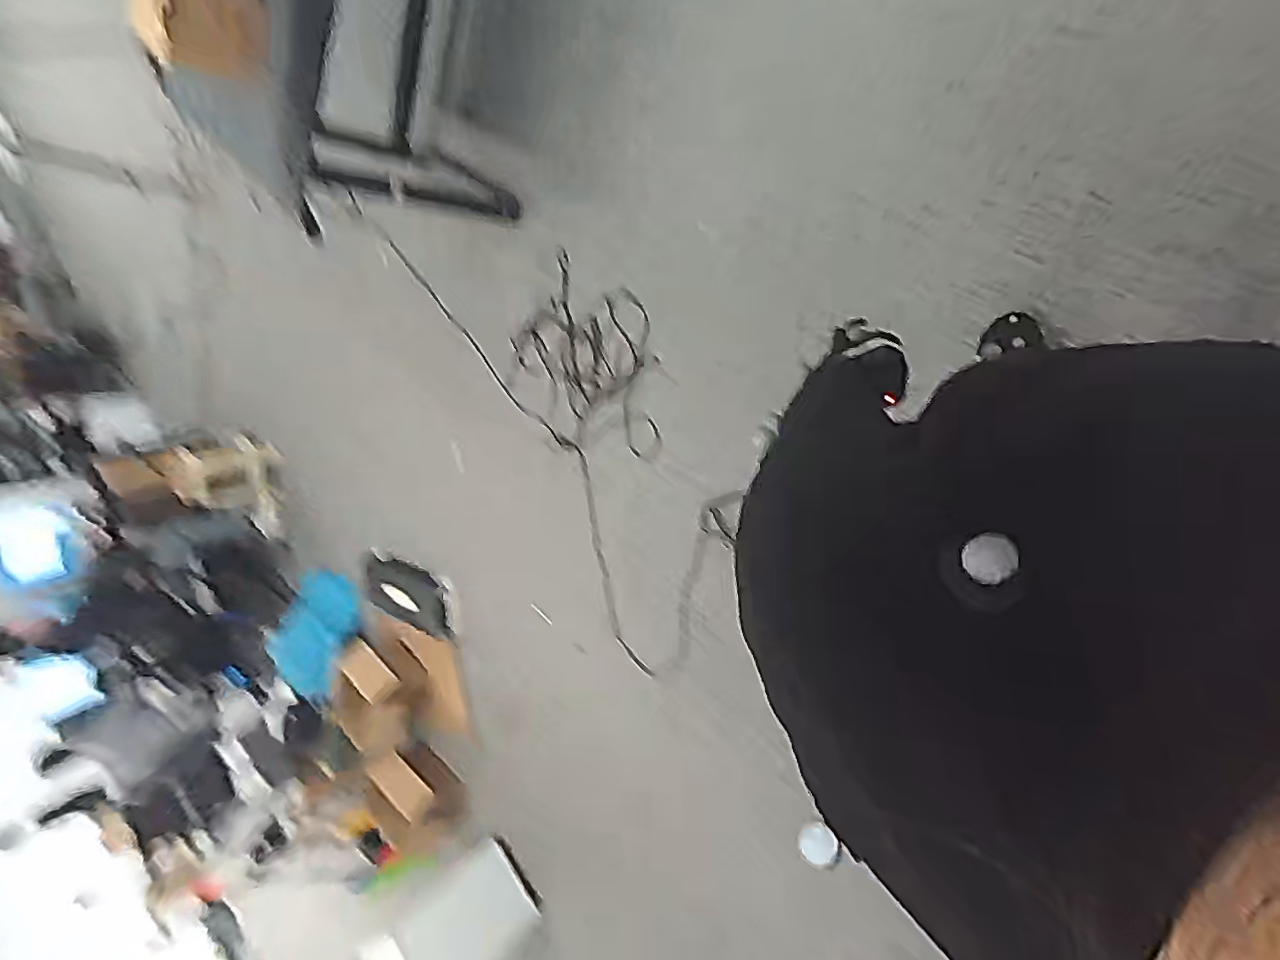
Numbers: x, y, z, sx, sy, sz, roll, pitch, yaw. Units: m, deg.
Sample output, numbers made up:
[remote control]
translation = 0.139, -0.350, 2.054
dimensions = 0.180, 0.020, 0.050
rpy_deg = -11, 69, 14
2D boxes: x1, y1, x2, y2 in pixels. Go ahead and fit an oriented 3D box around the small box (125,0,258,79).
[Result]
[small box]
translation = -0.902, -0.951, 1.091
dimensions = 0.179, 0.176, 0.168
rpy_deg = 43, 122, 21
